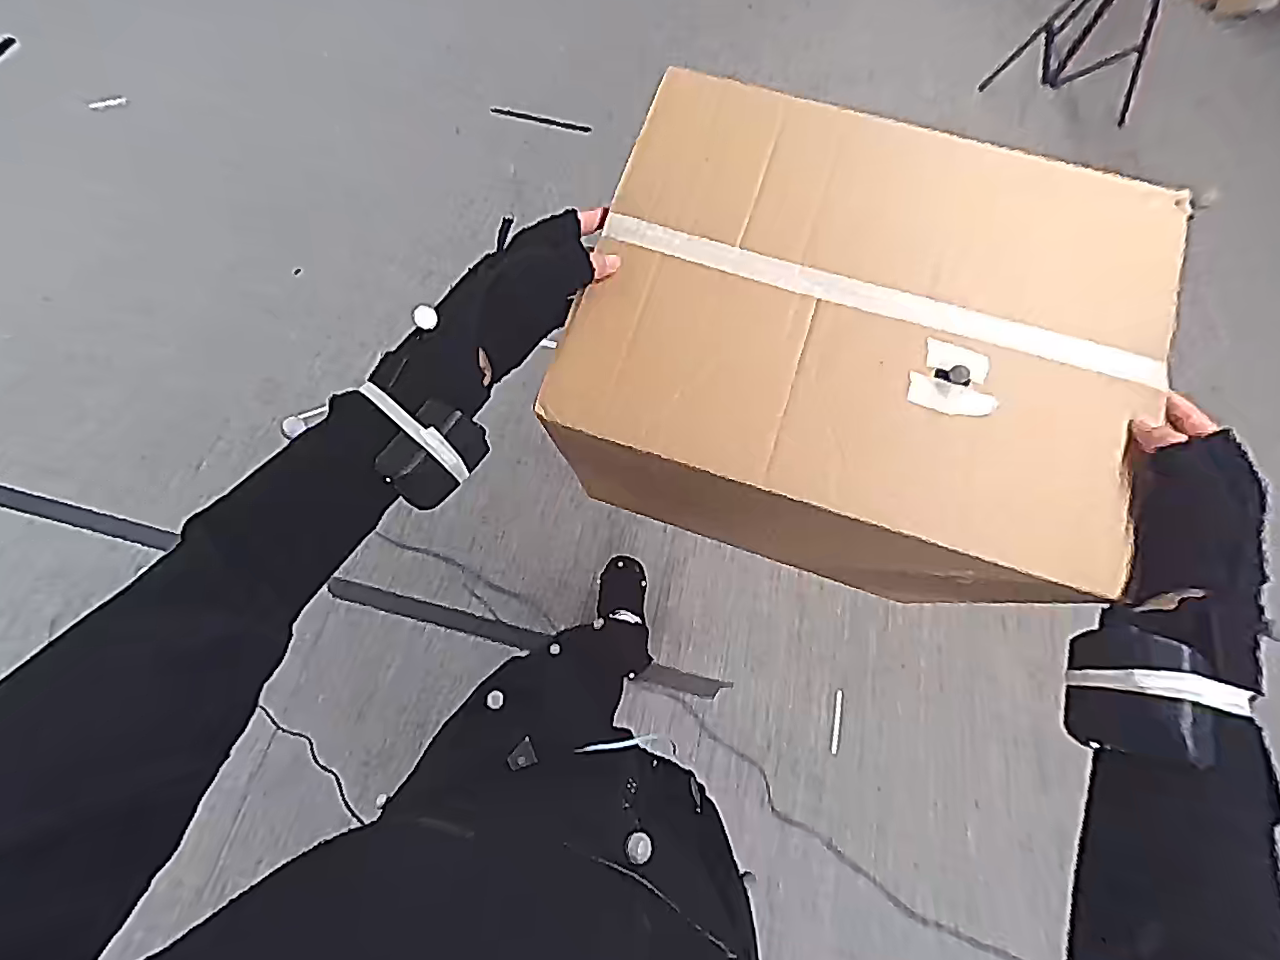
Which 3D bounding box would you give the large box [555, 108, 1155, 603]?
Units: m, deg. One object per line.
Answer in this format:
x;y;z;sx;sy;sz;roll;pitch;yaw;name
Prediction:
0.170;-0.083;0.553;0.408;0.320;0.320;18;79;5;large box
